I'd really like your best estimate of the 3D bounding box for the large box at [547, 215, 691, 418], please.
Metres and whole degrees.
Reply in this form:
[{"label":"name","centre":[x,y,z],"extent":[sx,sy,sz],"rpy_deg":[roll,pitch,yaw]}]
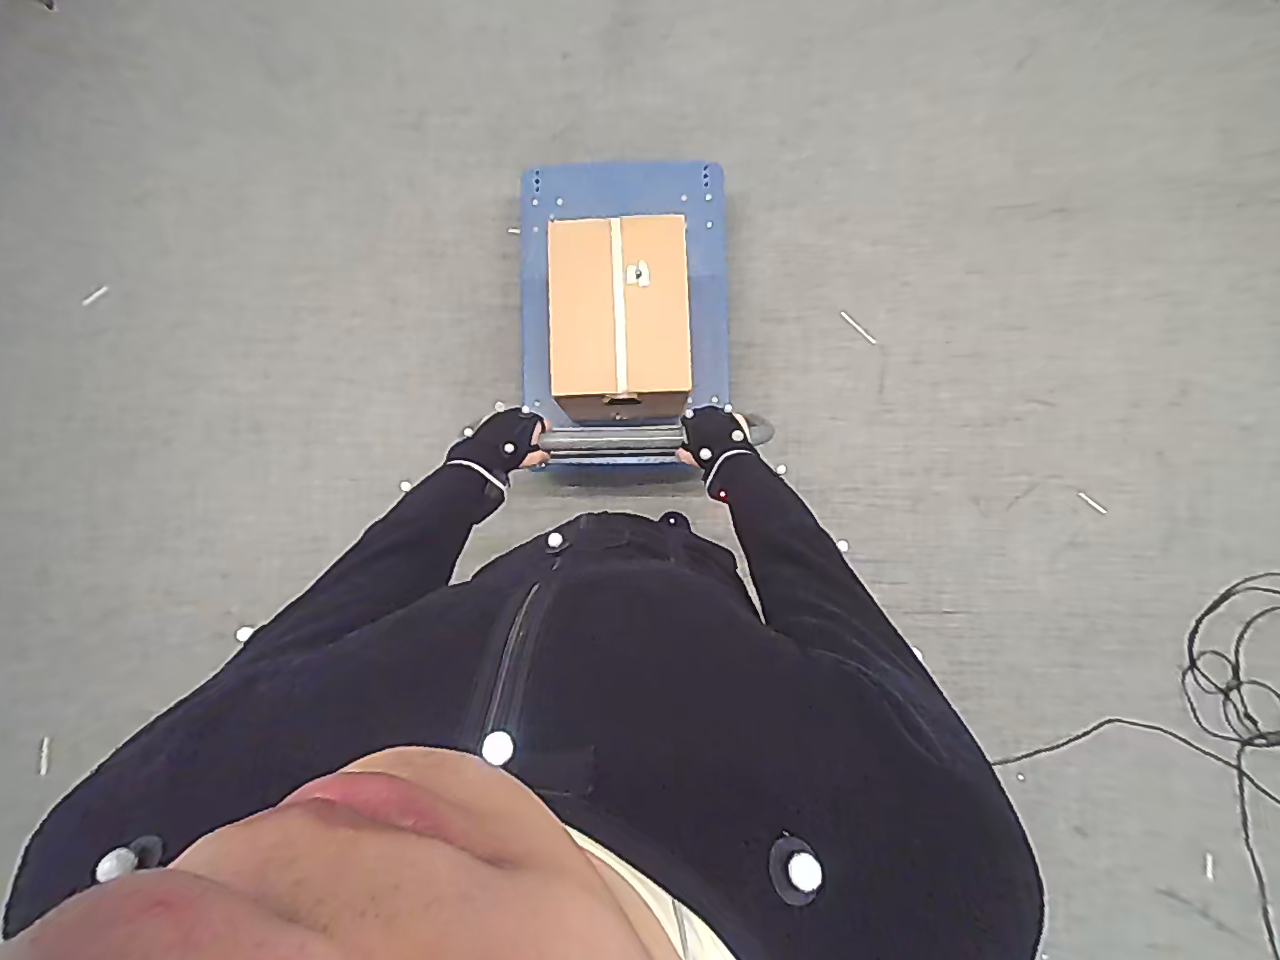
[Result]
[{"label":"large box","centre":[-0.046,-0.387,1.363],"extent":[0.320,0.320,0.408],"rpy_deg":[-2,86,0]}]
